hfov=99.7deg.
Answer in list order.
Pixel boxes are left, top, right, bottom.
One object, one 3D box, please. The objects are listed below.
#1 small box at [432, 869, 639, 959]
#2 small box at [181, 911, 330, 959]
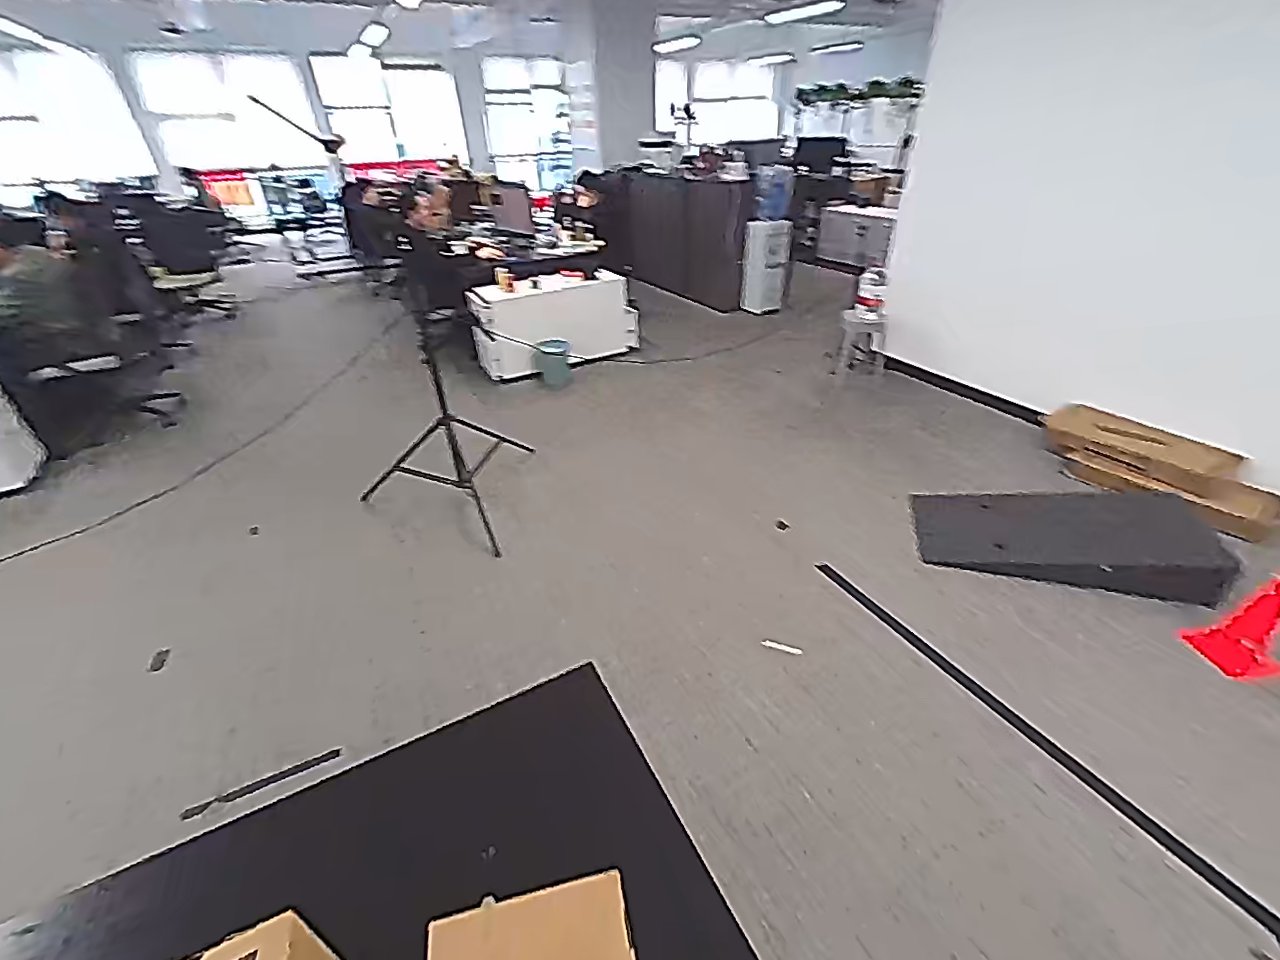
[{"bbox_3d":[-0.081,0.491,0.488,0.179,0.176,0.168,-8,41,-9],"label":"small box"},{"bbox_3d":[-0.384,0.561,0.495,0.168,0.176,0.179,-15,36,-20],"label":"small box"}]
